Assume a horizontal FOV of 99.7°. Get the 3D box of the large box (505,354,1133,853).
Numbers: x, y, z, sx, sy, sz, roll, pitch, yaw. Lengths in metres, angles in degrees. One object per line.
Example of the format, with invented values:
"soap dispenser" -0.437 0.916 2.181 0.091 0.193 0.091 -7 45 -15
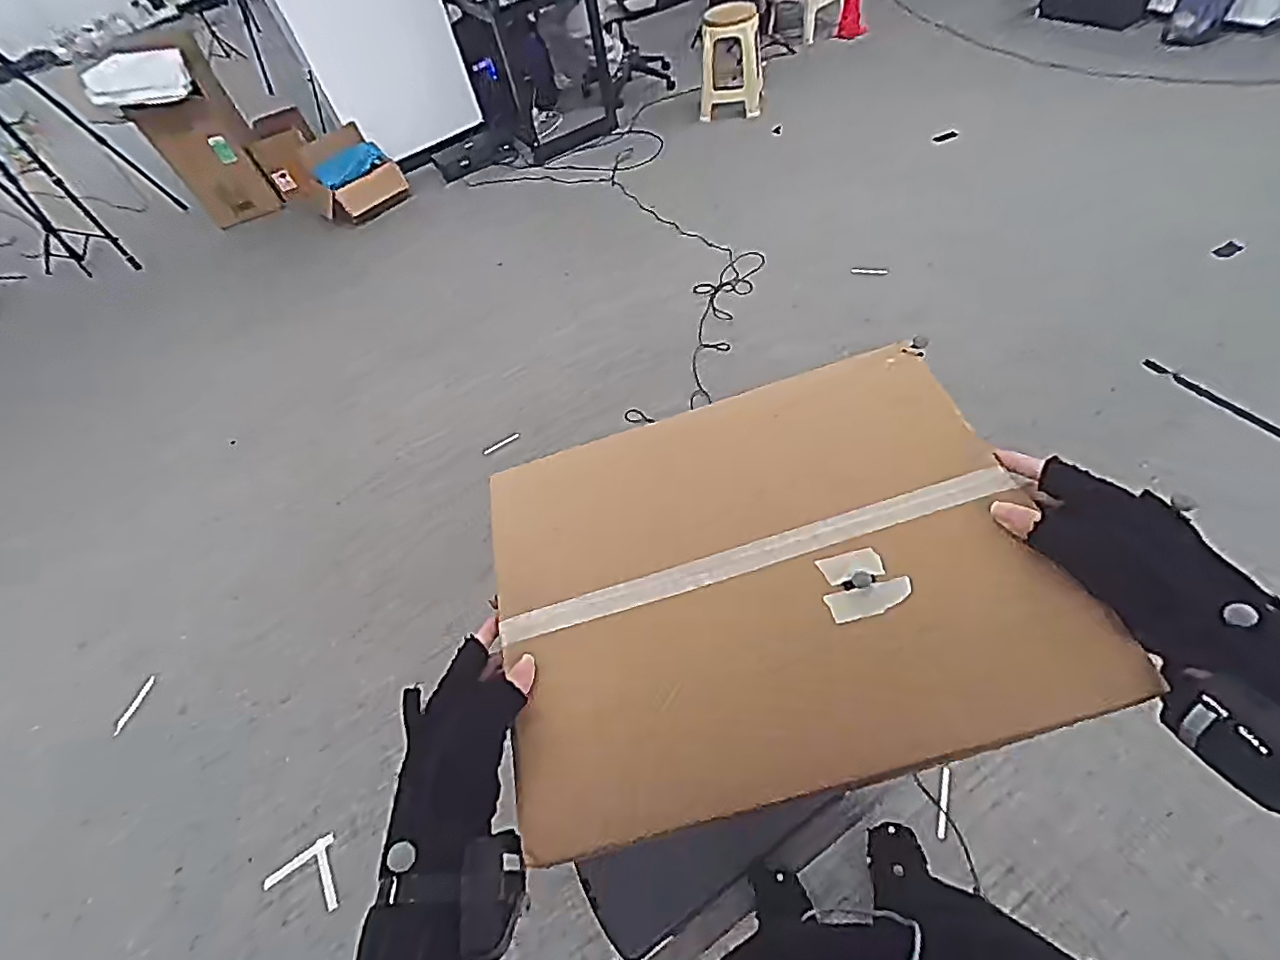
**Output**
"large box" 0.120 0.141 0.553 0.408 0.320 0.320 -18 57 3
